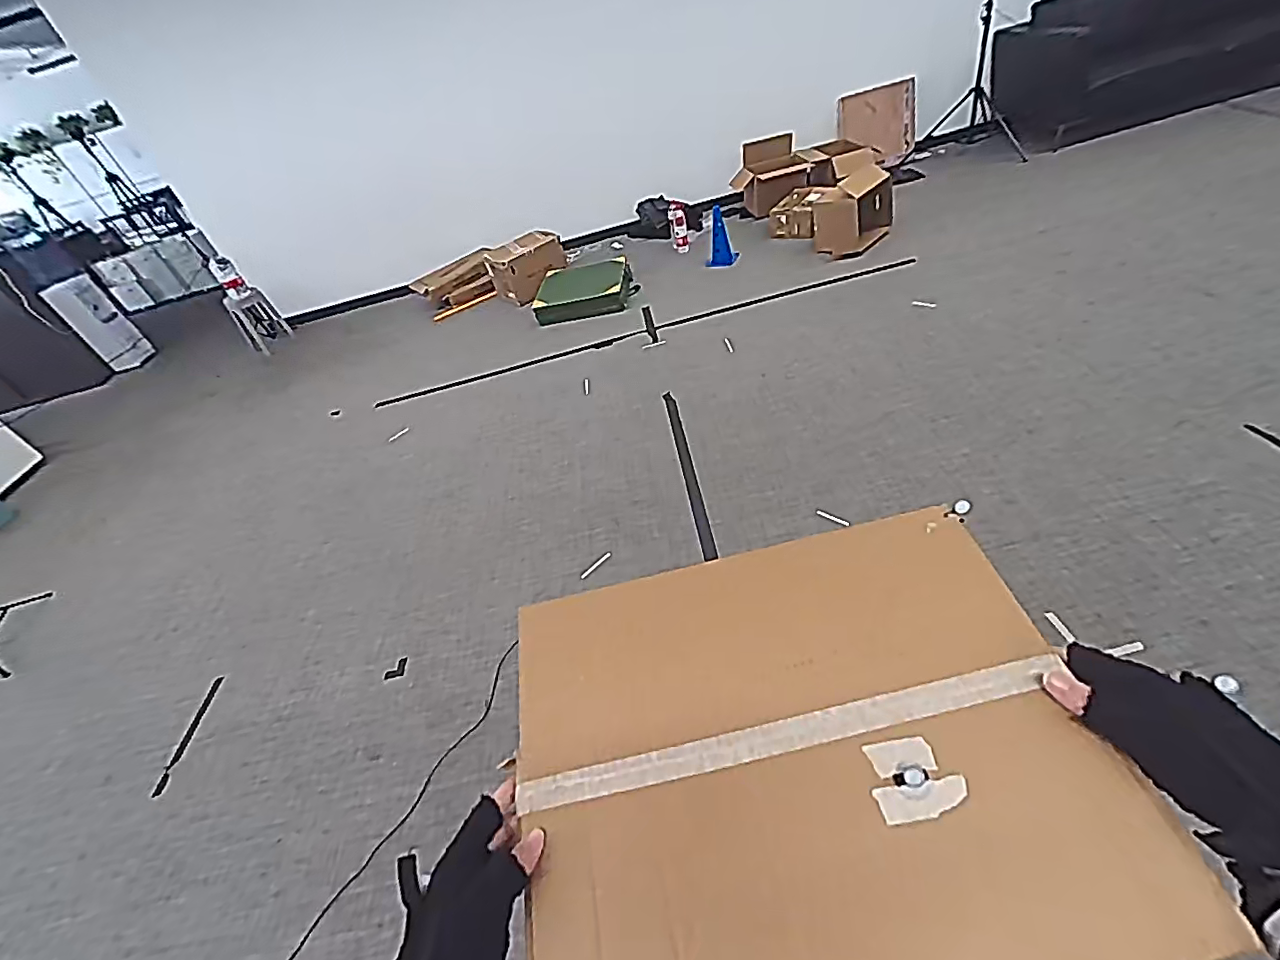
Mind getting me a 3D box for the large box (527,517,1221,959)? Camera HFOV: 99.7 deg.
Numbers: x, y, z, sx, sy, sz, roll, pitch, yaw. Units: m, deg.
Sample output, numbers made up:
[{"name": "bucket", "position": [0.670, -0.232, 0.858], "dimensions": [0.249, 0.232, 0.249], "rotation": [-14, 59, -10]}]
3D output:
[{"name": "large box", "position": [0.138, 0.290, 0.515], "dimensions": [0.408, 0.320, 0.320], "rotation": [-14, 49, 0]}]
